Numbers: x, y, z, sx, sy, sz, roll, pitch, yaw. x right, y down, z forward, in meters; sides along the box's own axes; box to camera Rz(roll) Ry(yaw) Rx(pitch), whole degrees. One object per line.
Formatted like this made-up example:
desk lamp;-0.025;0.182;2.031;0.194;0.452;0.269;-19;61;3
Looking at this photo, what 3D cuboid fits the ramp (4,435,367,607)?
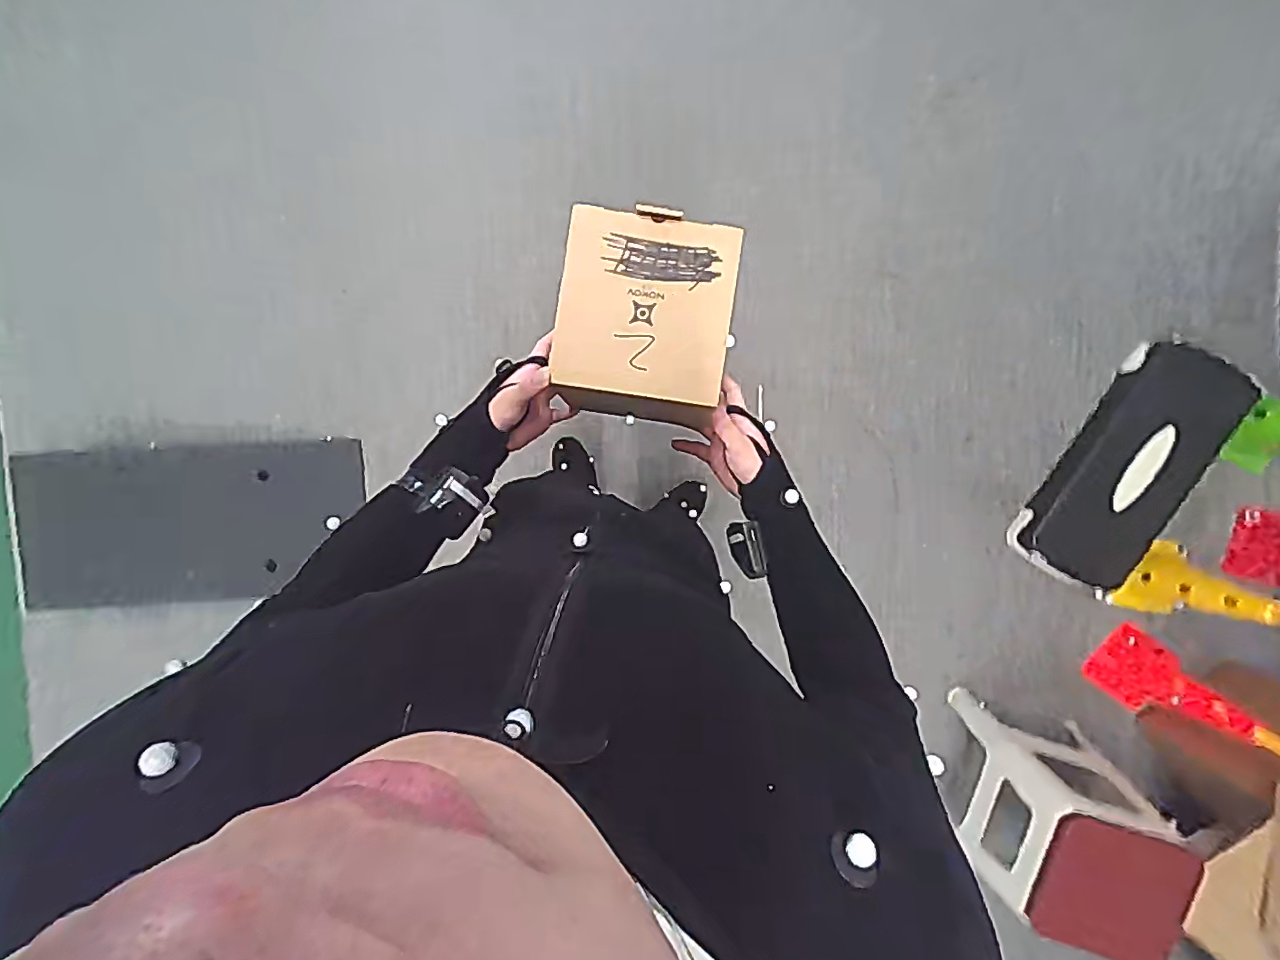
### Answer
ramp;-1.376;0.119;1.666;0.991;0.206;0.509;-3;93;5
